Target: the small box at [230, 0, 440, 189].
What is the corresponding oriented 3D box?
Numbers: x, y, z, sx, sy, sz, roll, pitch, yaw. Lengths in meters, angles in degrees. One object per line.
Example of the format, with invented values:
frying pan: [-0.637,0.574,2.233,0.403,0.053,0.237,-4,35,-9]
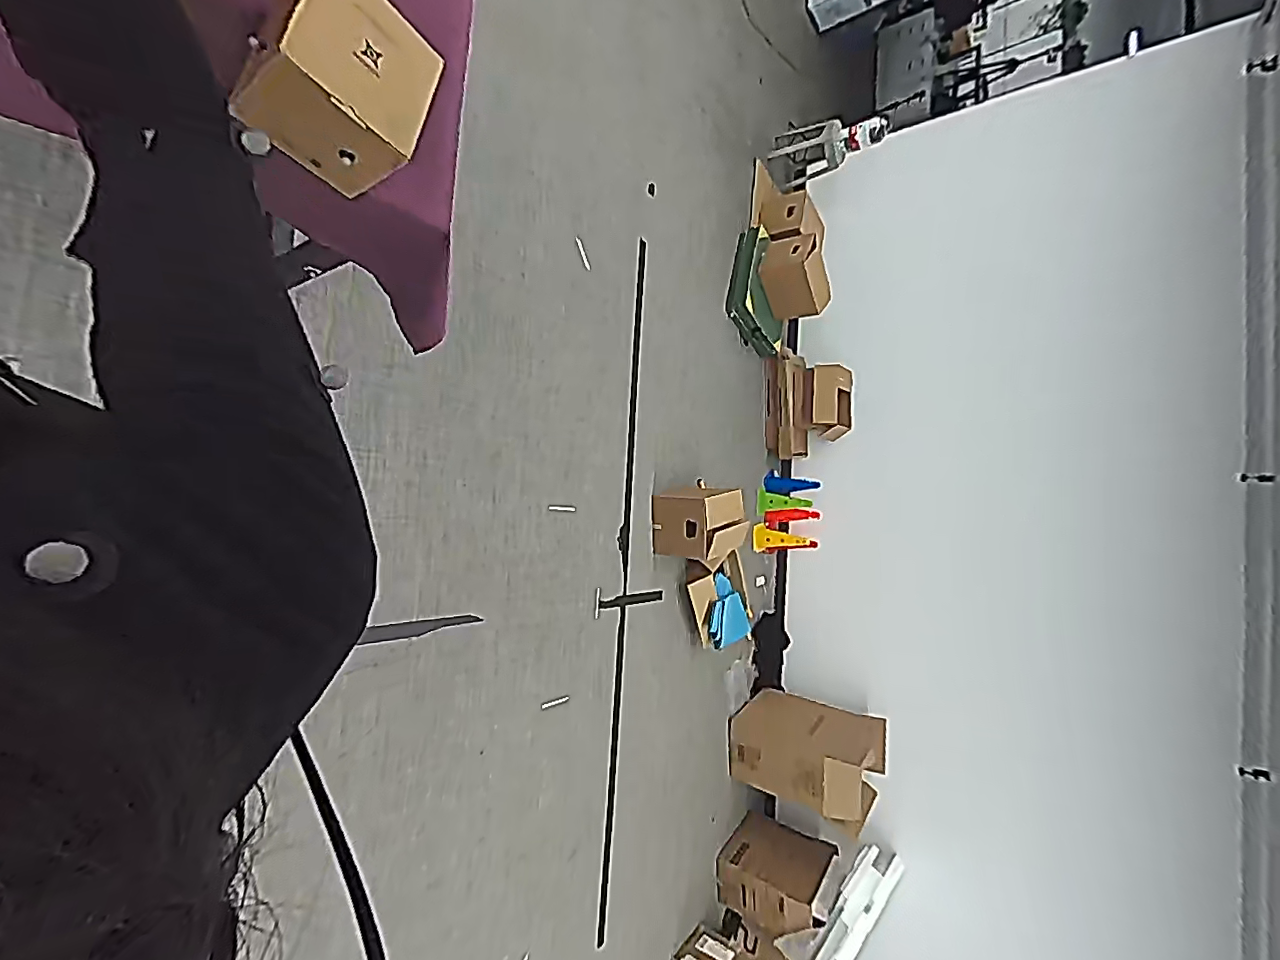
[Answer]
small box: [-0.404,-0.530,0.719,0.168,0.176,0.179,29,66,-52]
